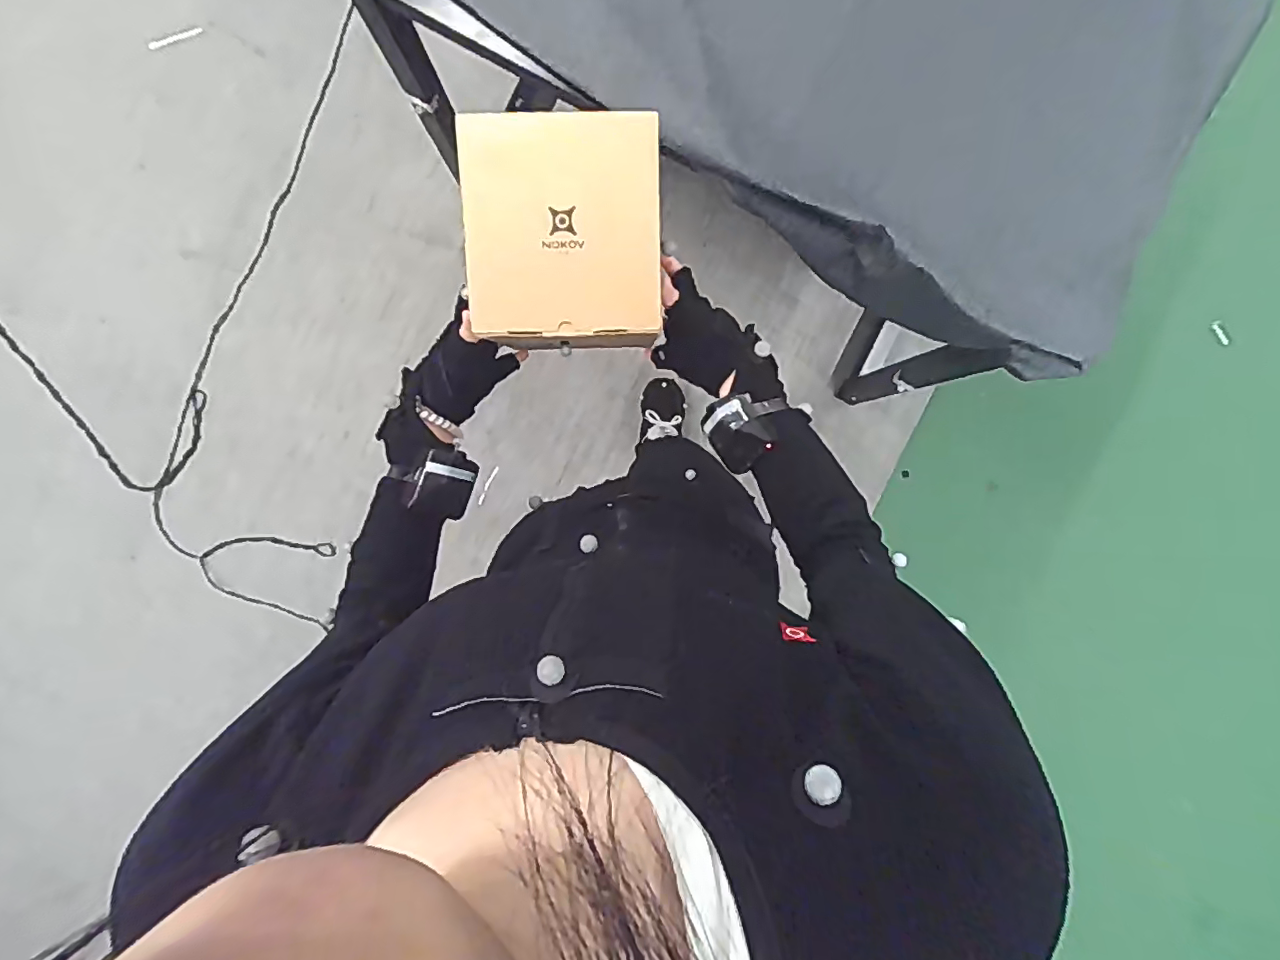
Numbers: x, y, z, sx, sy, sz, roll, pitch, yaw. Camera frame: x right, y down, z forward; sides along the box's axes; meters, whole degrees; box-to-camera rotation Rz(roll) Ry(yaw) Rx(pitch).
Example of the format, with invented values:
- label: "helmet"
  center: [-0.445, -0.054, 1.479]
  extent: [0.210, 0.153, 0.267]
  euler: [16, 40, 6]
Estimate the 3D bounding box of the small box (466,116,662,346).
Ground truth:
- label: "small box"
  center: [-0.068, -0.229, 0.542]
  extent: [0.168, 0.176, 0.179]
  euler: [-1, 101, -2]
